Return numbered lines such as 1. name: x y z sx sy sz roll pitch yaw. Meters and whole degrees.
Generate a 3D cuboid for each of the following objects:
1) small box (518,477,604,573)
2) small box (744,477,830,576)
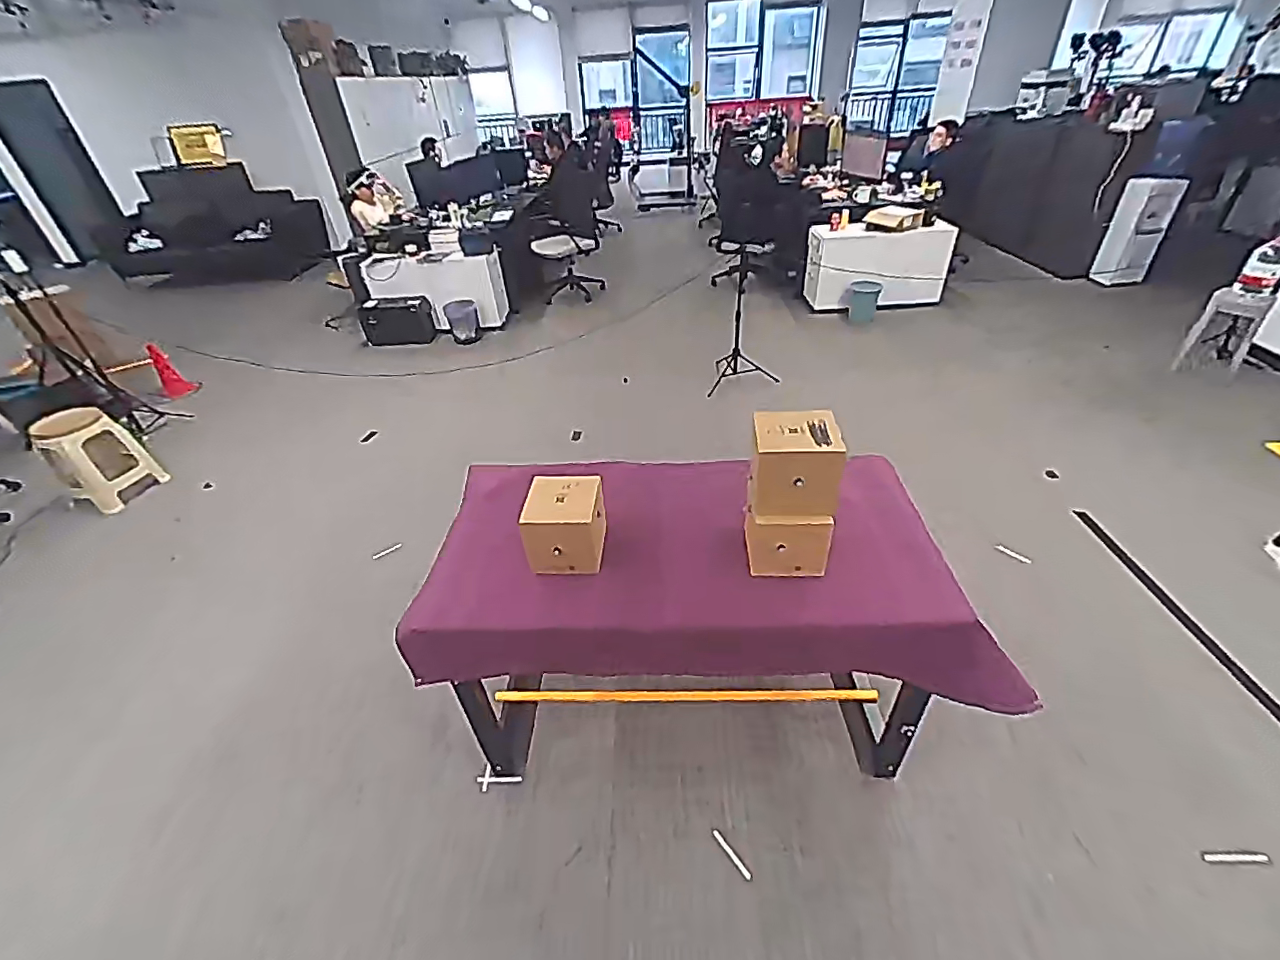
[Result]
1. small box: -0.182 0.110 1.312 0.168 0.176 0.179 0 37 5
2. small box: 0.336 0.111 1.267 0.168 0.176 0.179 -1 36 5
